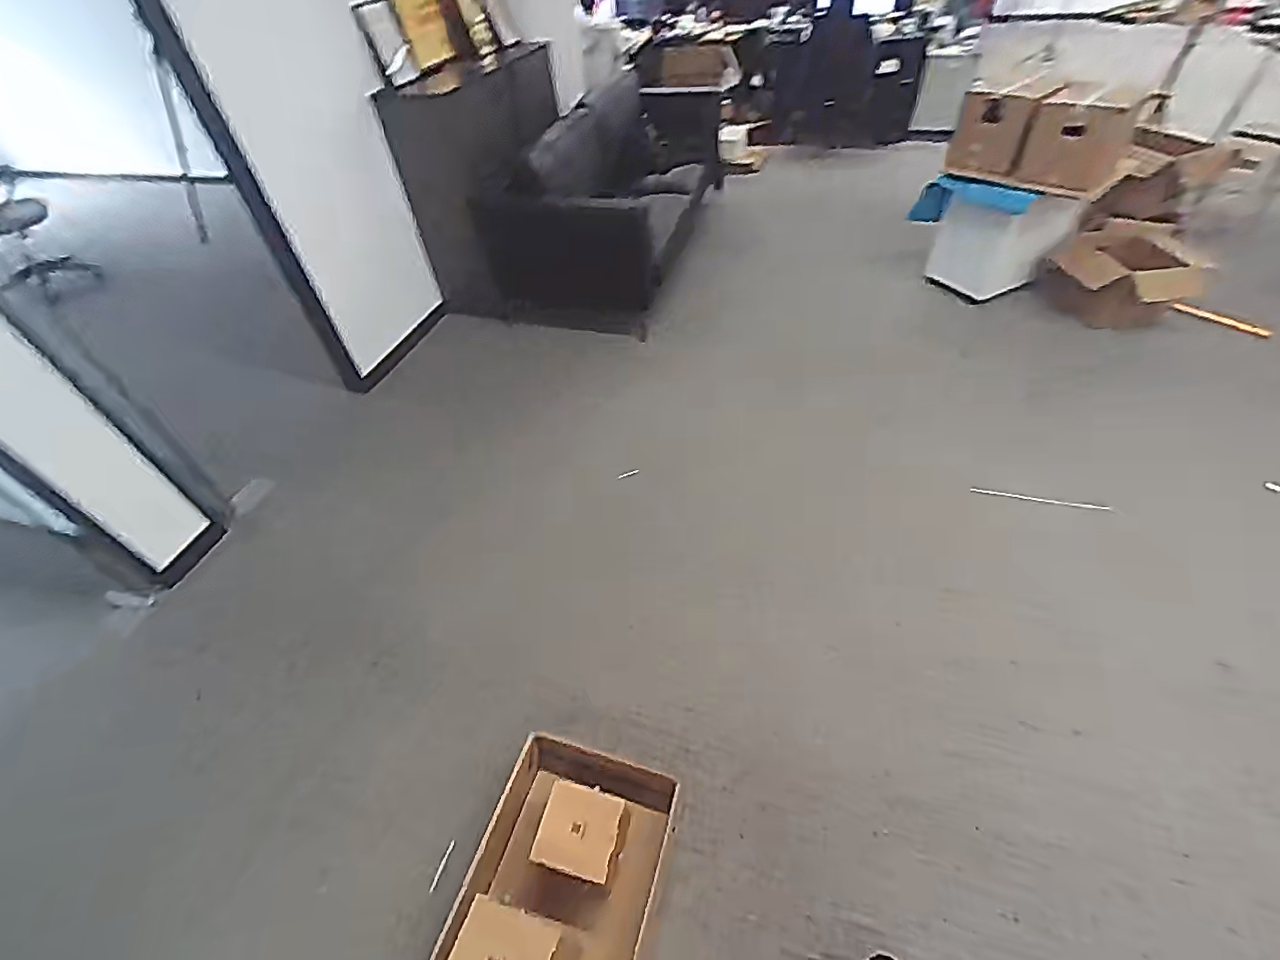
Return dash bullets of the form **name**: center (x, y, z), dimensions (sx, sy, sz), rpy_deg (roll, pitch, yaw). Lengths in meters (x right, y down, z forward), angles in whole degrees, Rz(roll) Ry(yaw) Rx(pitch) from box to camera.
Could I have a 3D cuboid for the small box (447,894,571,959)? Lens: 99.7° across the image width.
- **small box**: center (-0.244, 0.897, 0.984), dimensions (0.179, 0.176, 0.168), rpy_deg (12, 48, 16)
